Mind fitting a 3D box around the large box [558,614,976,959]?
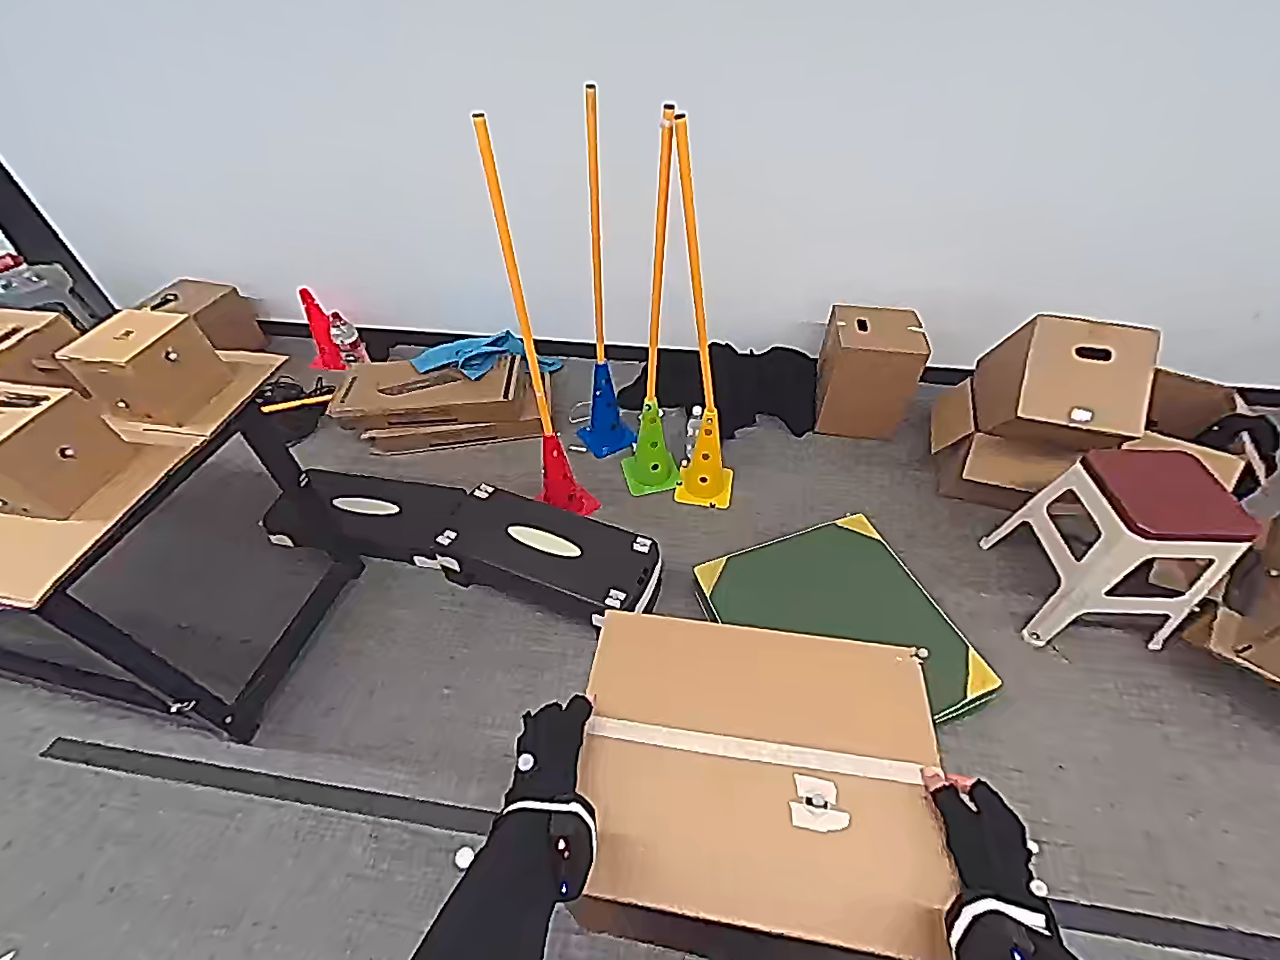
[{"bbox_3d":[0.138,0.413,0.722,0.408,0.320,0.320,6,46,9],"label":"large box"}]
